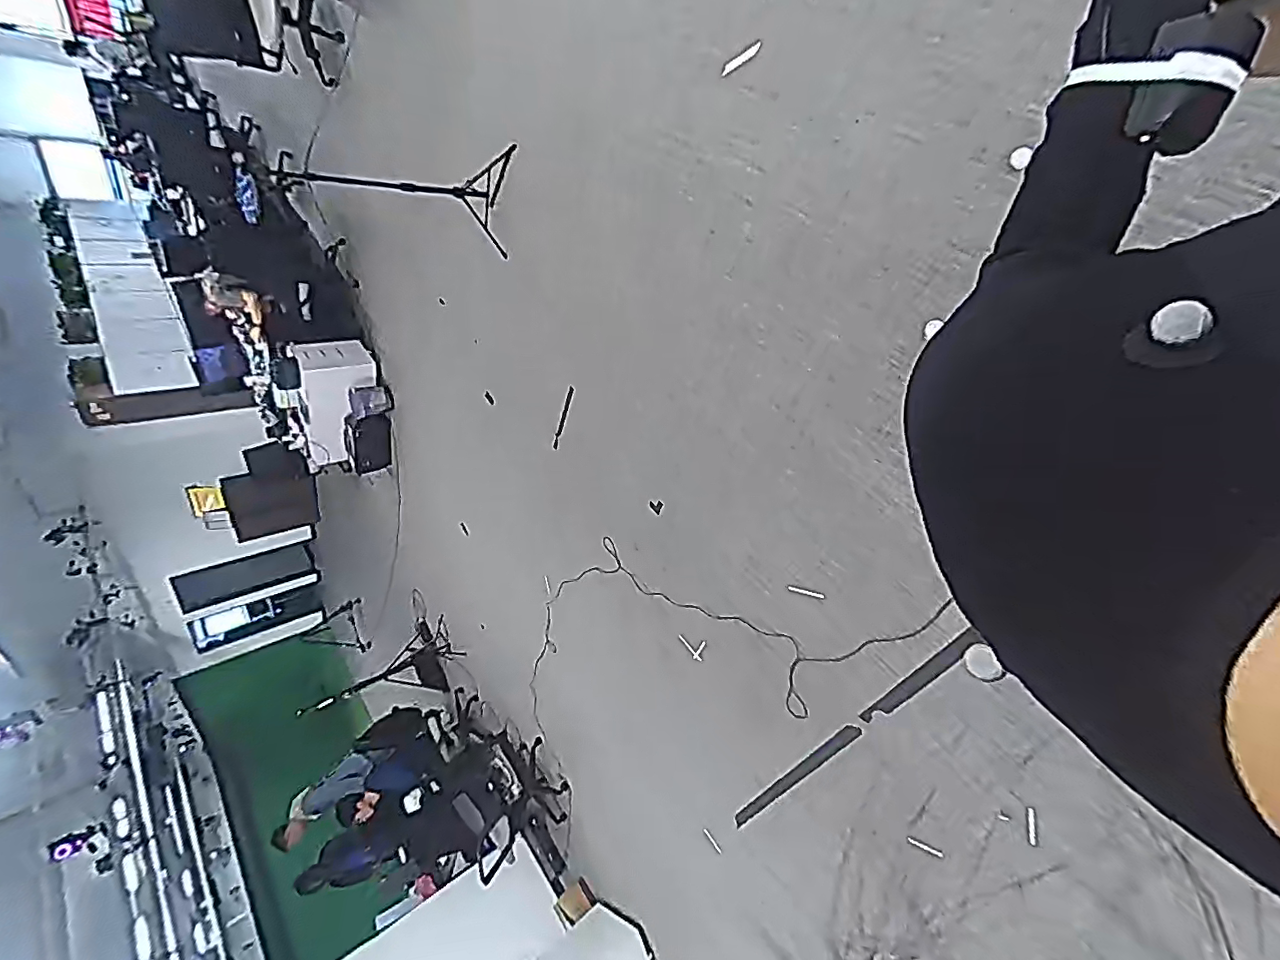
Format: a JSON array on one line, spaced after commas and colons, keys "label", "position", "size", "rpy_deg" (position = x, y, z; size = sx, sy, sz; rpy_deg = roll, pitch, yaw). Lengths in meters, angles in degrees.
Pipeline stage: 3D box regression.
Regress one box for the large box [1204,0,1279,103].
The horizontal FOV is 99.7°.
[{"label": "large box", "position": [0.592, -0.385, 0.235], "size": [0.408, 0.320, 0.320], "rpy_deg": [28, 127, 38]}]
